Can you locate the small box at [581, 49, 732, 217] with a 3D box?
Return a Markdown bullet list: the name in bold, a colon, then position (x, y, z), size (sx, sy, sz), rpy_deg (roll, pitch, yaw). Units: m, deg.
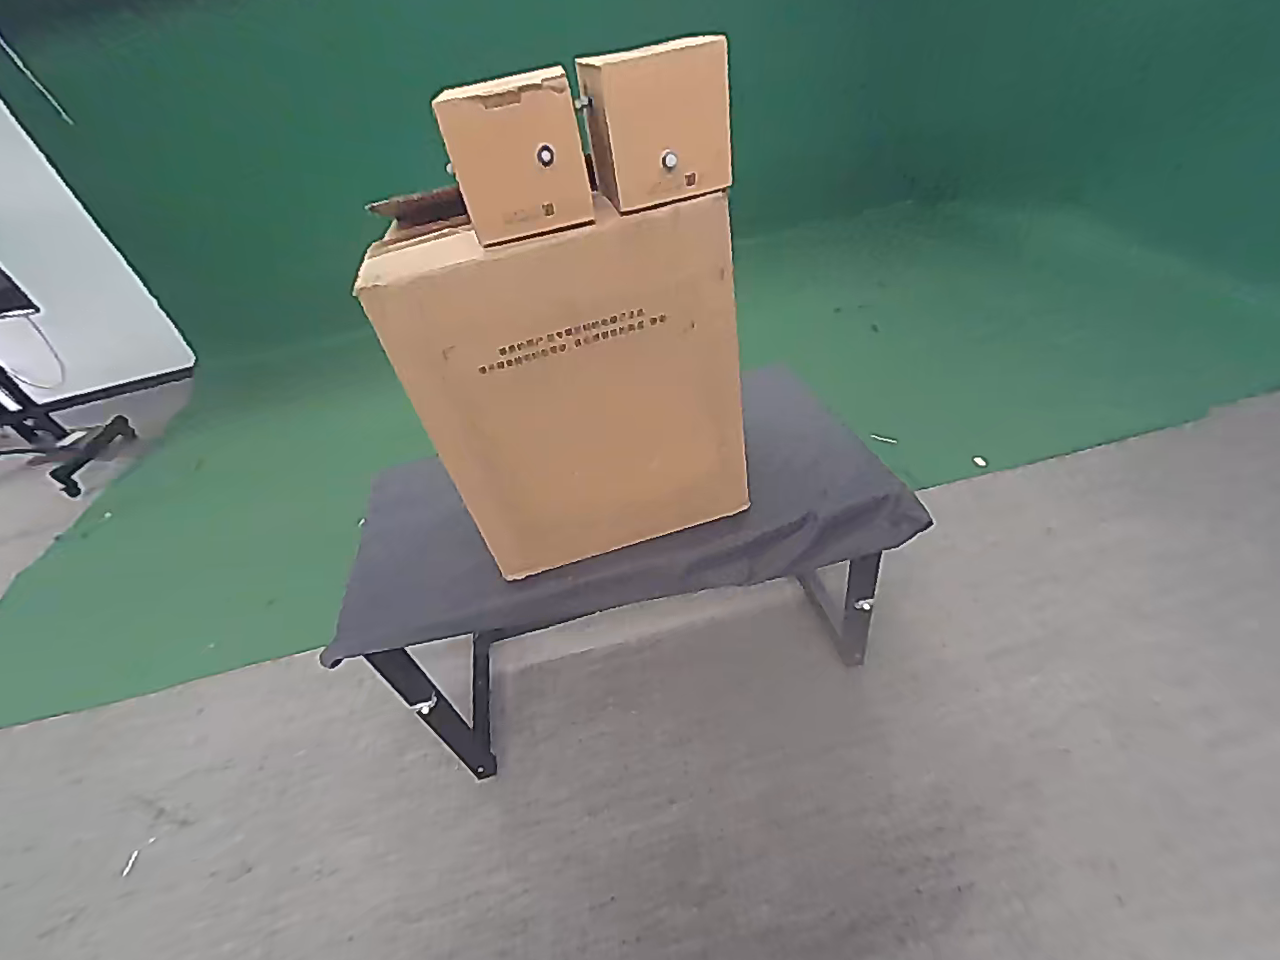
- **small box**: position (0.023, -0.493, 0.771), size (0.168, 0.176, 0.179), rpy_deg (-16, 41, -5)
